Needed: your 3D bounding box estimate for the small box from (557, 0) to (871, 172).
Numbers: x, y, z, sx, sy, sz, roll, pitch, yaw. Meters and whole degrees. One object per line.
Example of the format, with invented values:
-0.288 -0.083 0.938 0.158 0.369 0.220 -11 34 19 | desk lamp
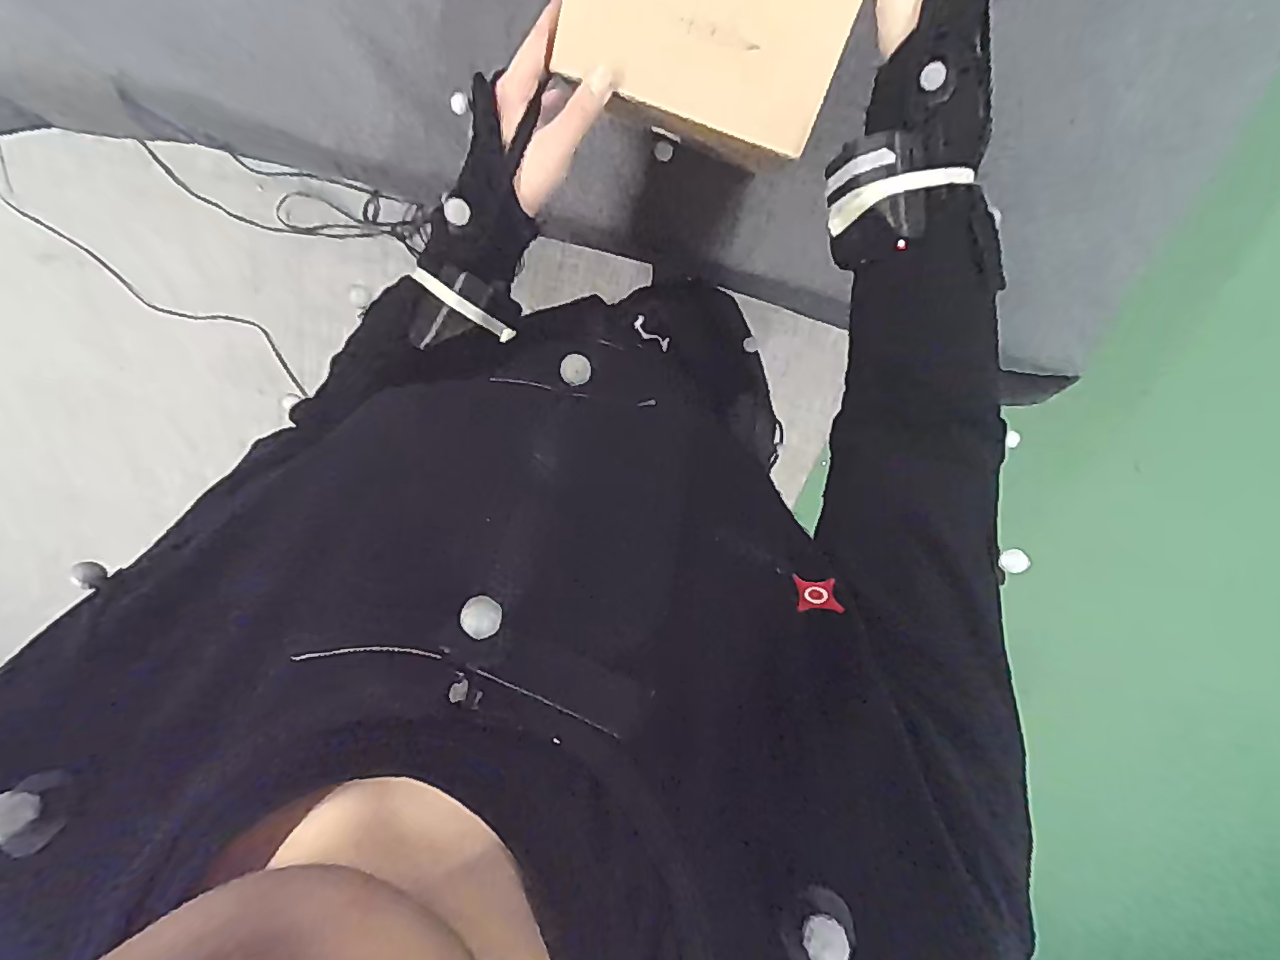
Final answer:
0.060 -0.329 0.359 0.168 0.176 0.179 18 117 -1 | small box
